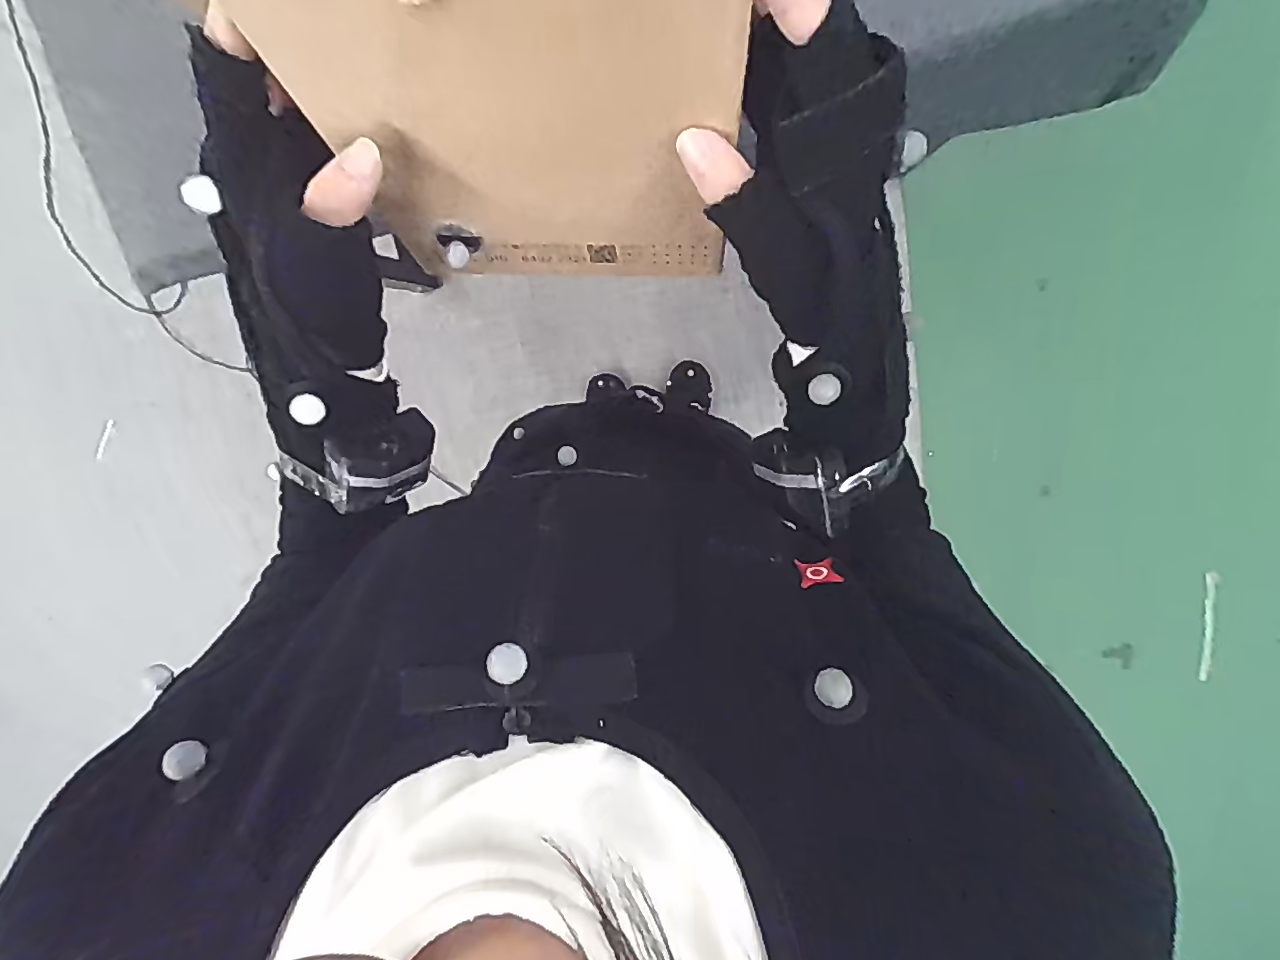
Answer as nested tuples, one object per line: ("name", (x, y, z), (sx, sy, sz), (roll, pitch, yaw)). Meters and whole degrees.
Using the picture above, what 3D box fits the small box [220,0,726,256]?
("small box", (-0.045, -0.221, 0.237), (0.168, 0.176, 0.179), (3, 76, 5))
